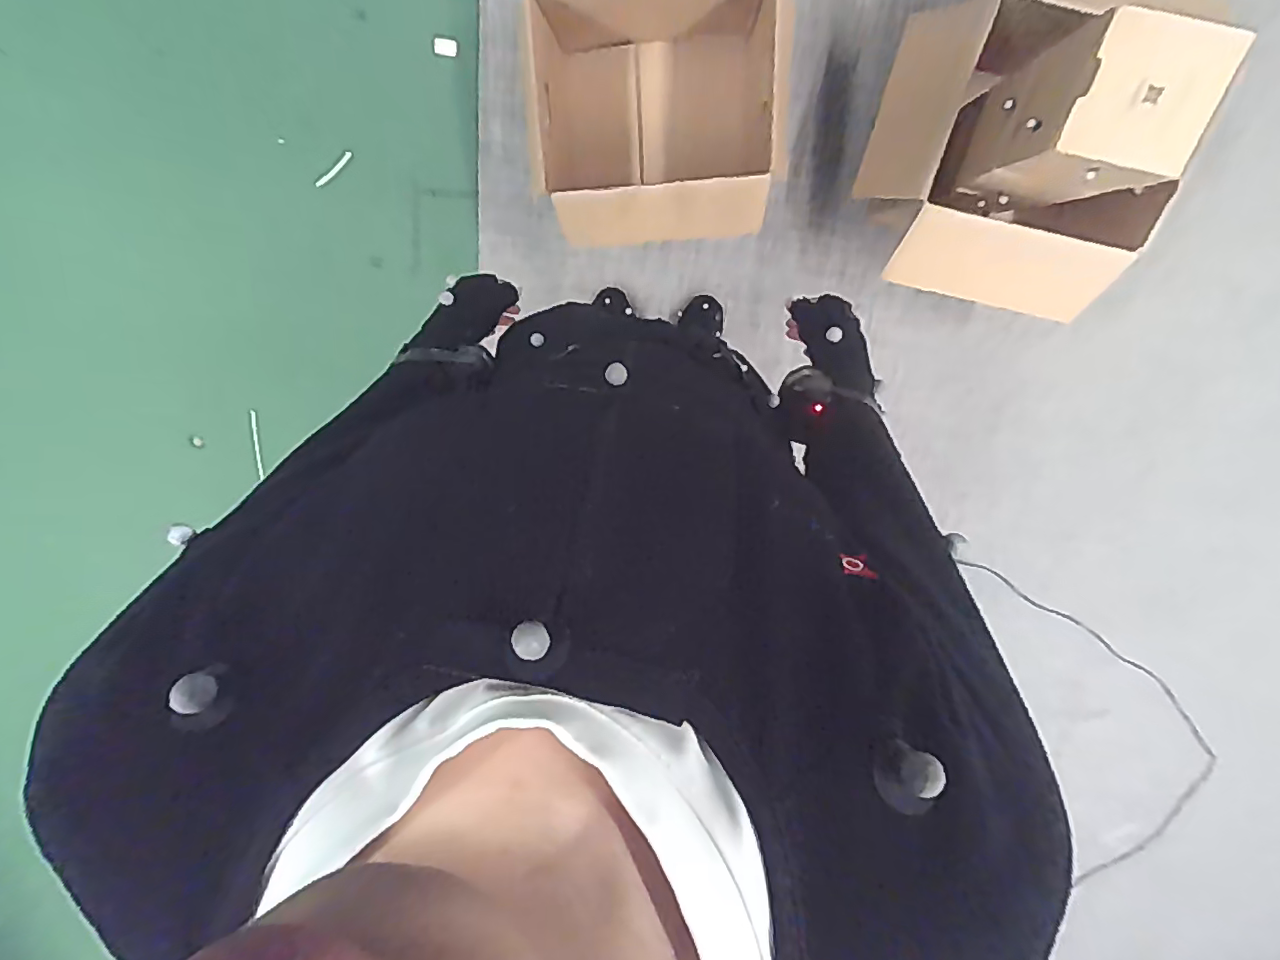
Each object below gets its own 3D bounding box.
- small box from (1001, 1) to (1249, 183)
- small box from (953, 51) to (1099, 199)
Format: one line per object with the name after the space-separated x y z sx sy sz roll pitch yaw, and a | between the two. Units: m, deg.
0.677 -0.546 0.786 0.179 0.176 0.168 12 113 1 | small box
0.692 -0.600 0.938 0.179 0.176 0.168 13 111 1 | small box
